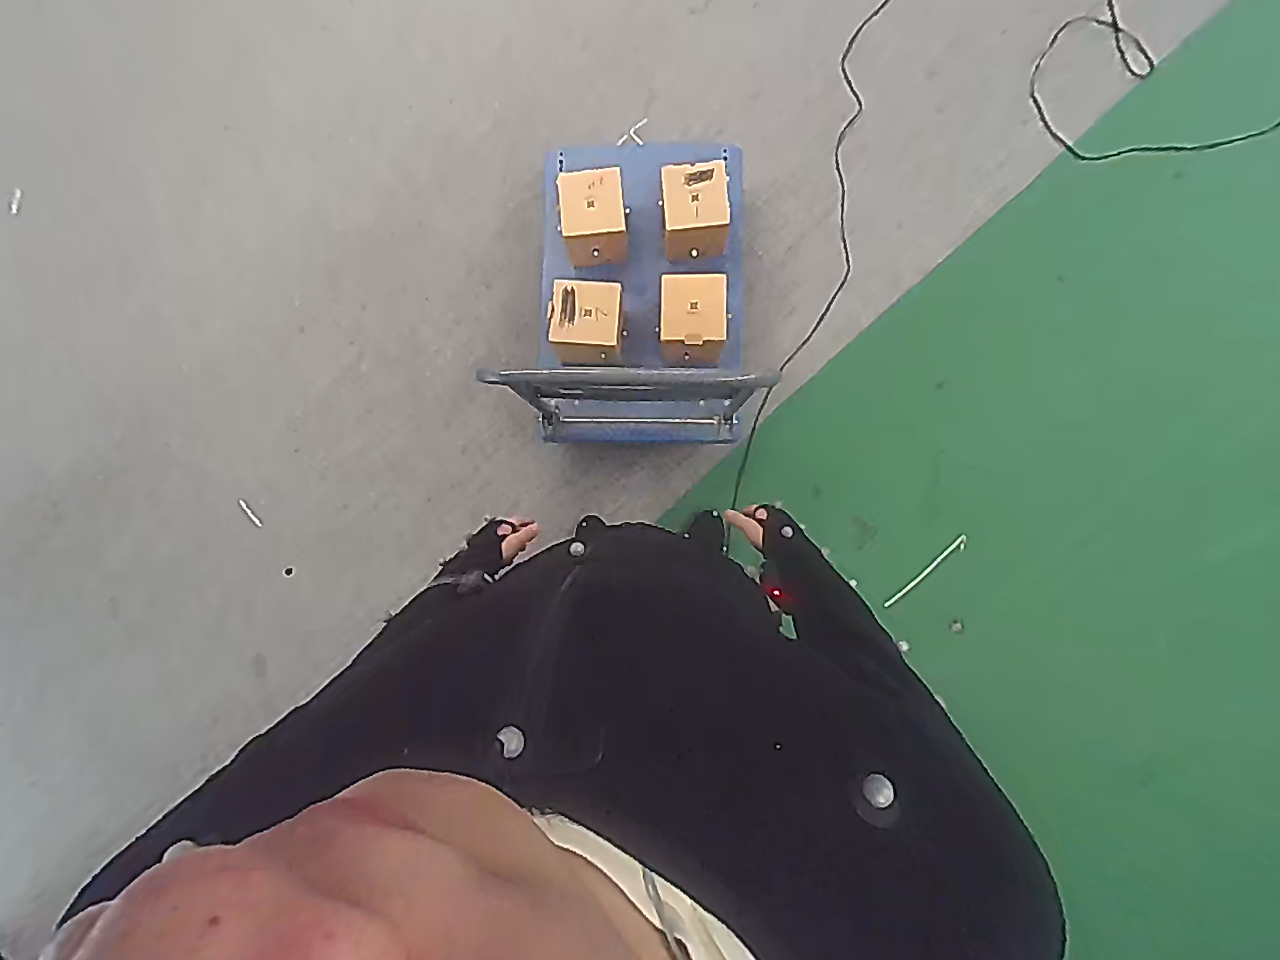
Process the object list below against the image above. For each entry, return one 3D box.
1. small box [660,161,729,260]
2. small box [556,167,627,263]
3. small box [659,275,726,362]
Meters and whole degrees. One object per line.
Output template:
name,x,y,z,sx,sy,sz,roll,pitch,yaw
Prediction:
small box,0.142,-0.720,1.457,0.168,0.176,0.179,-5,86,2
small box,-0.127,-0.707,1.466,0.168,0.176,0.179,-5,85,1
small box,0.136,-0.425,1.435,0.168,0.176,0.179,0,86,2
